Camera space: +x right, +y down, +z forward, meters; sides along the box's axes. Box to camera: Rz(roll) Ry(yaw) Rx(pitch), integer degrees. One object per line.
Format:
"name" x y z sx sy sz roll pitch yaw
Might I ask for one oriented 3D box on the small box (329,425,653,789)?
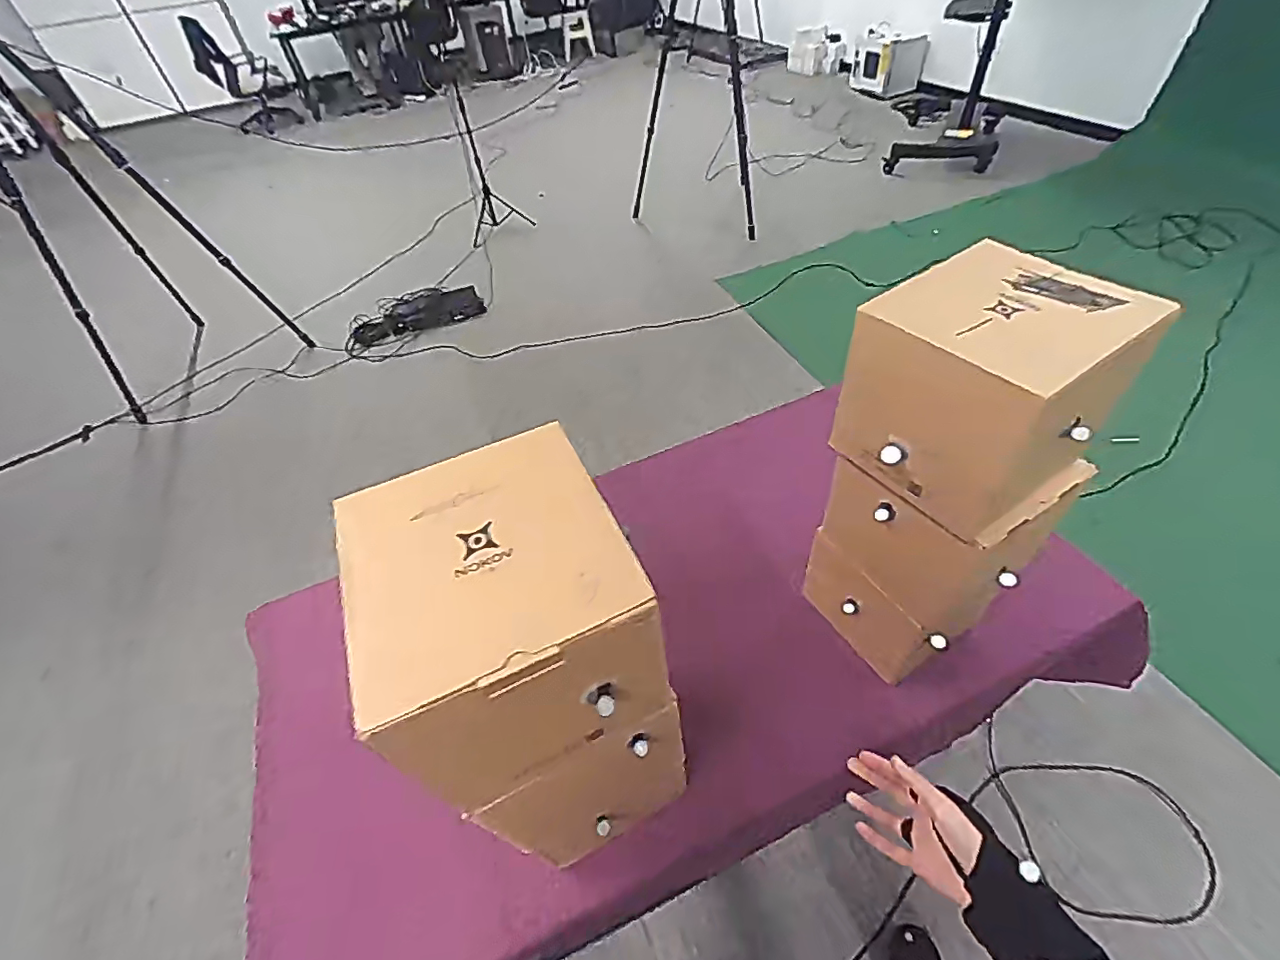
"small box" -0.098 0.095 0.394 0.168 0.176 0.179 -21 48 -13

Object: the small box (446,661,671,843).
"small box" -0.083 0.206 0.512 0.179 0.176 0.168 -23 49 -14

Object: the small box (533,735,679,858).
"small box" -0.067 0.309 0.637 0.179 0.176 0.168 -24 51 -13

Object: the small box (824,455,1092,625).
"small box" 0.333 0.028 0.610 0.168 0.176 0.179 -27 50 -15

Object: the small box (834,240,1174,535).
"small box" 0.303 -0.085 0.494 0.179 0.176 0.168 -29 50 -17
